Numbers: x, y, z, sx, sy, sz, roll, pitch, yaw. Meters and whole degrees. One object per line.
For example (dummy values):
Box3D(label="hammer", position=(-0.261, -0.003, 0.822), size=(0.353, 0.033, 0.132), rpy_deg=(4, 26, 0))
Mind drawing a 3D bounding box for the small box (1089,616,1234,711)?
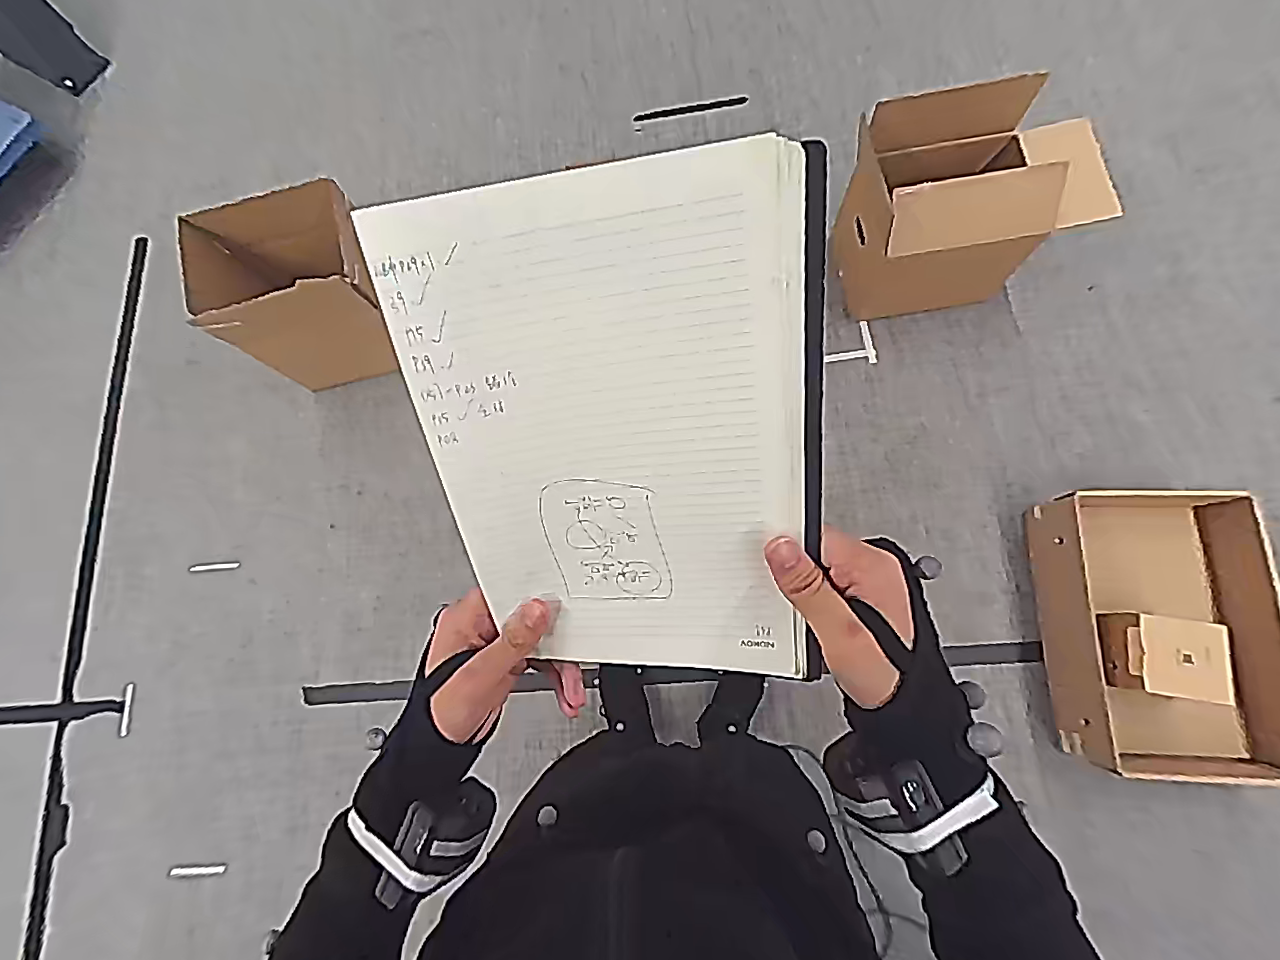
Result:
Box3D(label="small box", position=(1.157, 0.406, 1.217), size=(0.179, 0.176, 0.168), rpy_deg=(8, 77, 7))
